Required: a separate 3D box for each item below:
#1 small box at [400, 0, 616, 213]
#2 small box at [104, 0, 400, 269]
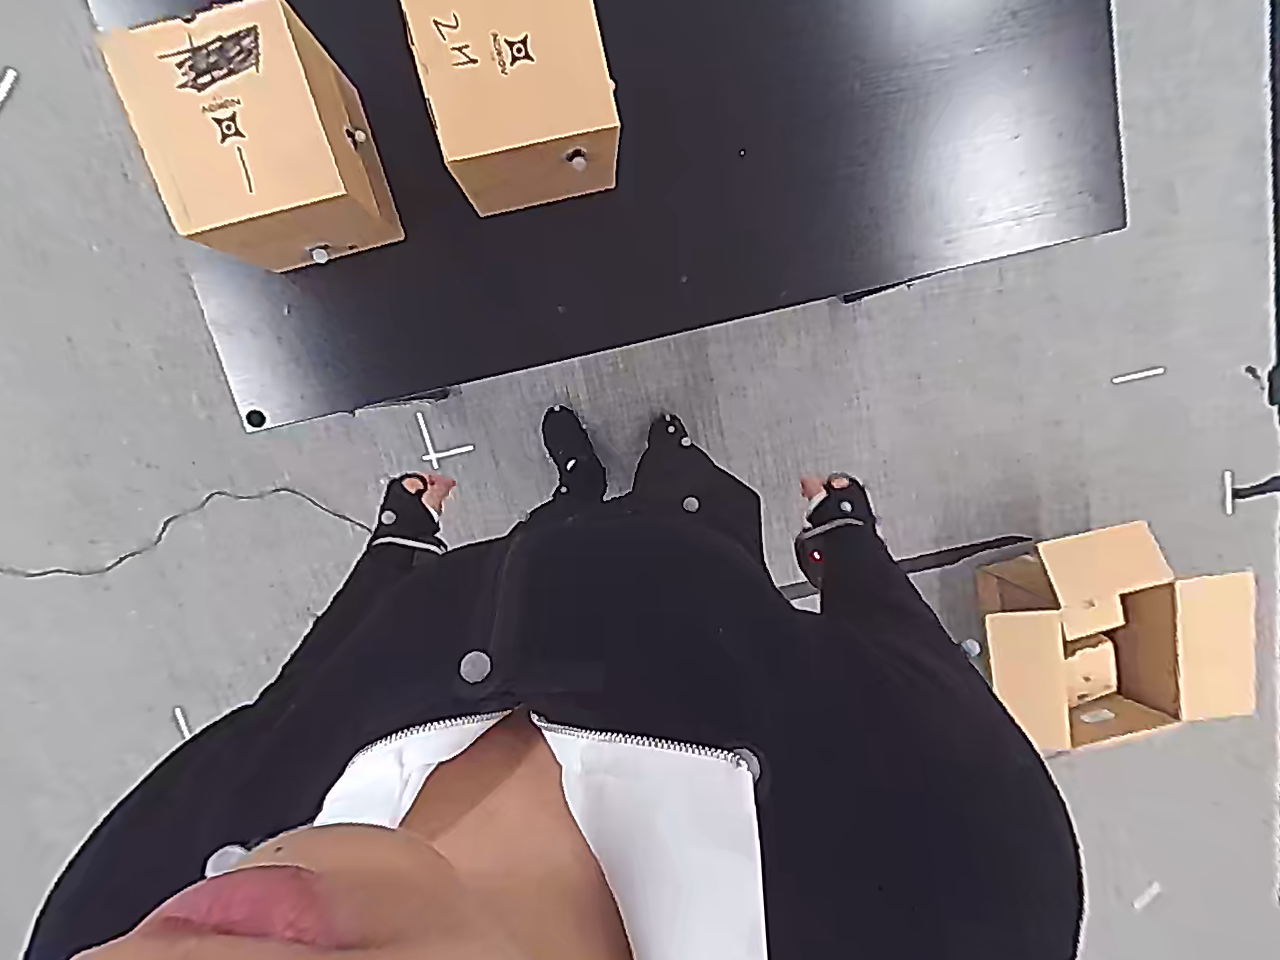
[{"bbox_3d":[-0.131,-0.416,0.591,0.179,0.176,0.168,-13,100,-2],"label":"small box"},{"bbox_3d":[-0.389,-0.350,0.582,0.168,0.176,0.179,-16,102,-2],"label":"small box"}]
